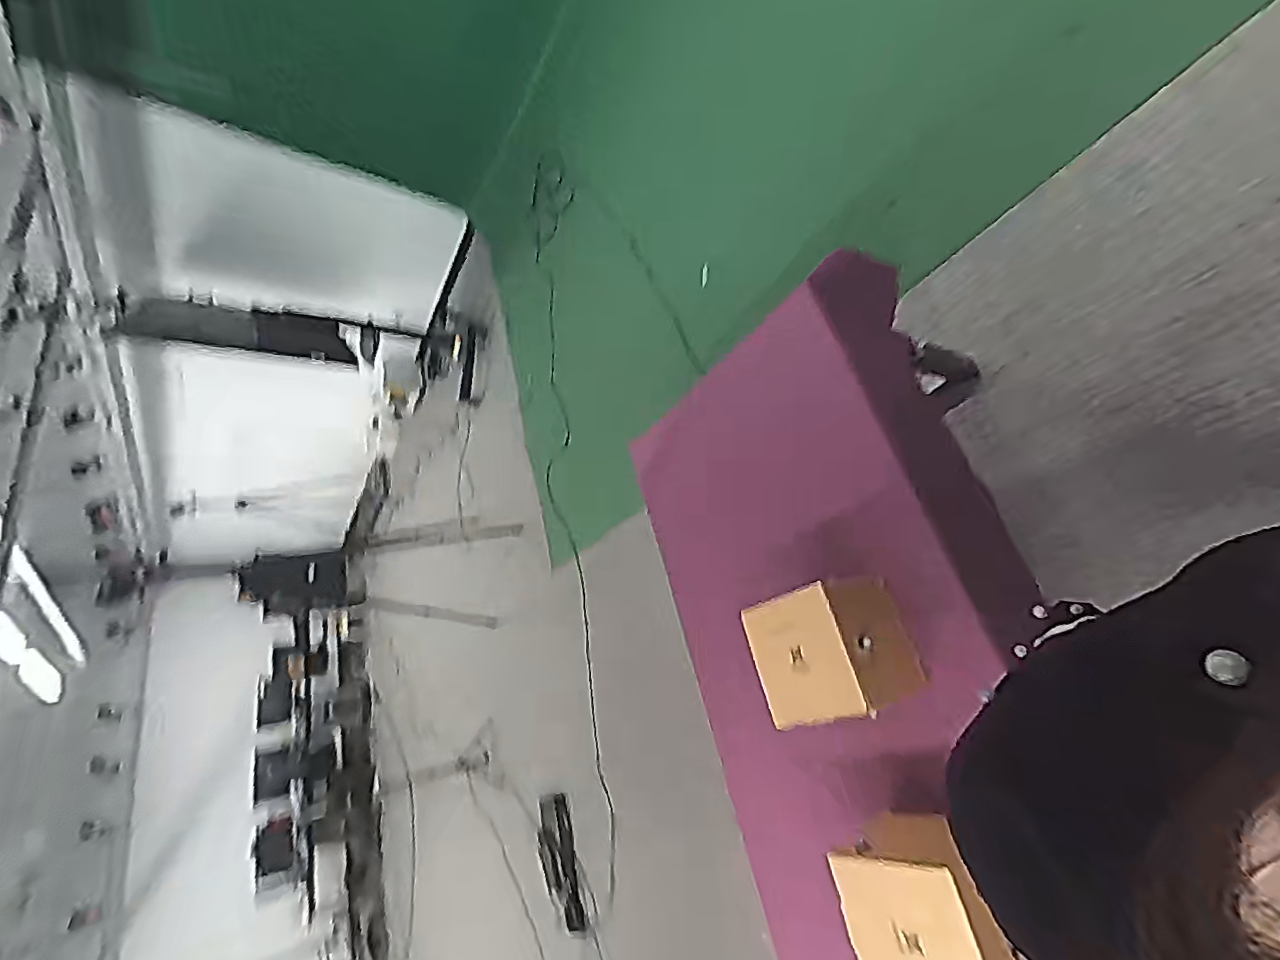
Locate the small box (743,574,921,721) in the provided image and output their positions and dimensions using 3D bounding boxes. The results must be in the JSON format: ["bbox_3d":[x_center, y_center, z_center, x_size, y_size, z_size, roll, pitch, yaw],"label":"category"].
[{"bbox_3d":[0.295,0.255,0.835,0.168,0.176,0.179,-38,58,45],"label":"small box"}]

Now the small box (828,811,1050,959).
[{"bbox_3d":[0.385,0.545,0.696,0.179,0.176,0.168,-37,59,47],"label":"small box"}]
